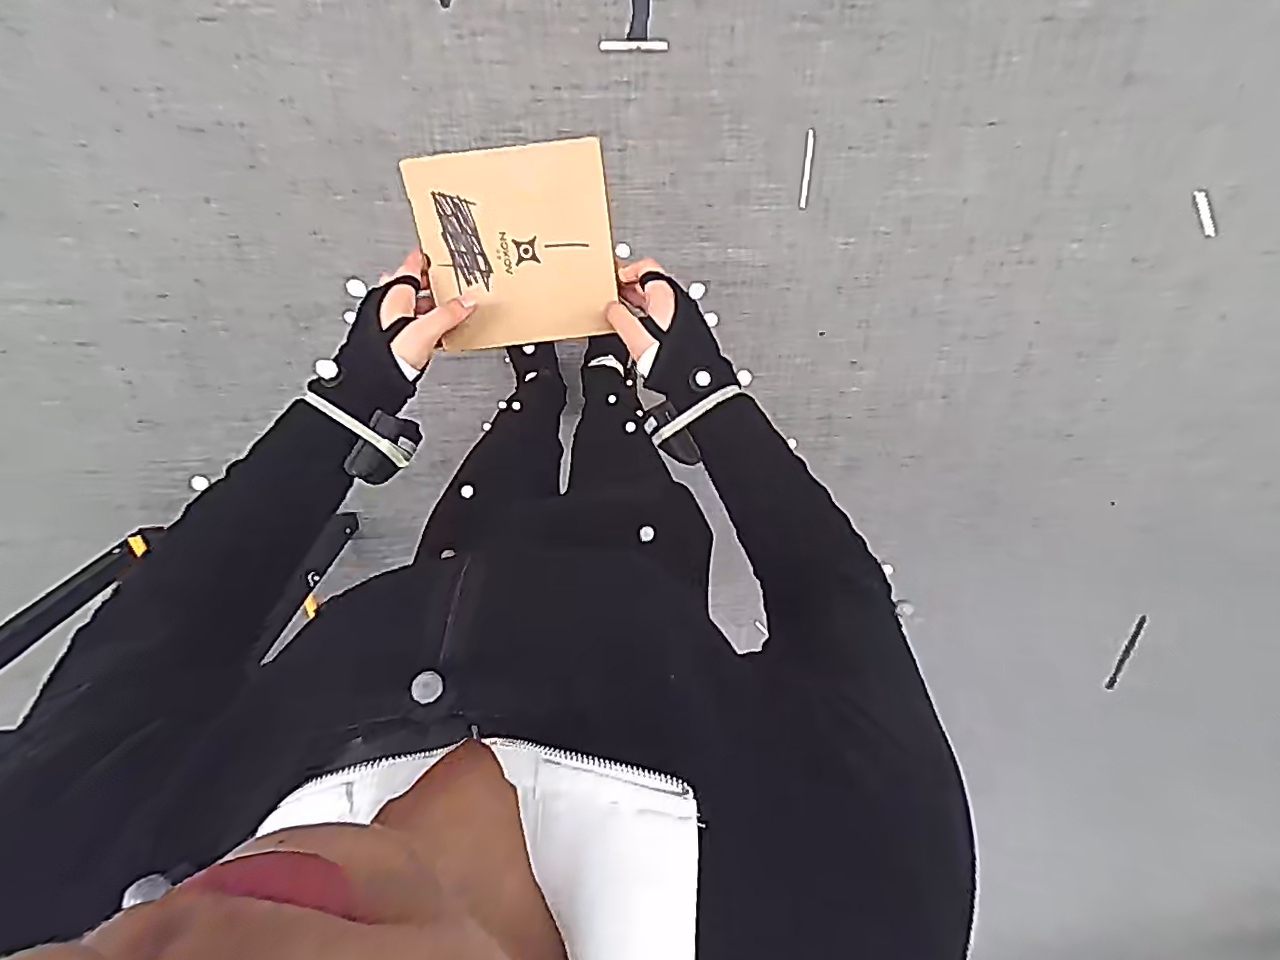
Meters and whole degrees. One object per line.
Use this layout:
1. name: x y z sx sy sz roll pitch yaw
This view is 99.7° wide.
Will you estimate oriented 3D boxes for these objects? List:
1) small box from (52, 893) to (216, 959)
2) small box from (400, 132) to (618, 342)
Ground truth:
1. small box: -0.942 0.896 0.989 0.179 0.176 0.168 -4 118 -3
2. small box: -0.118 -0.243 0.569 0.179 0.176 0.168 -7 111 0
